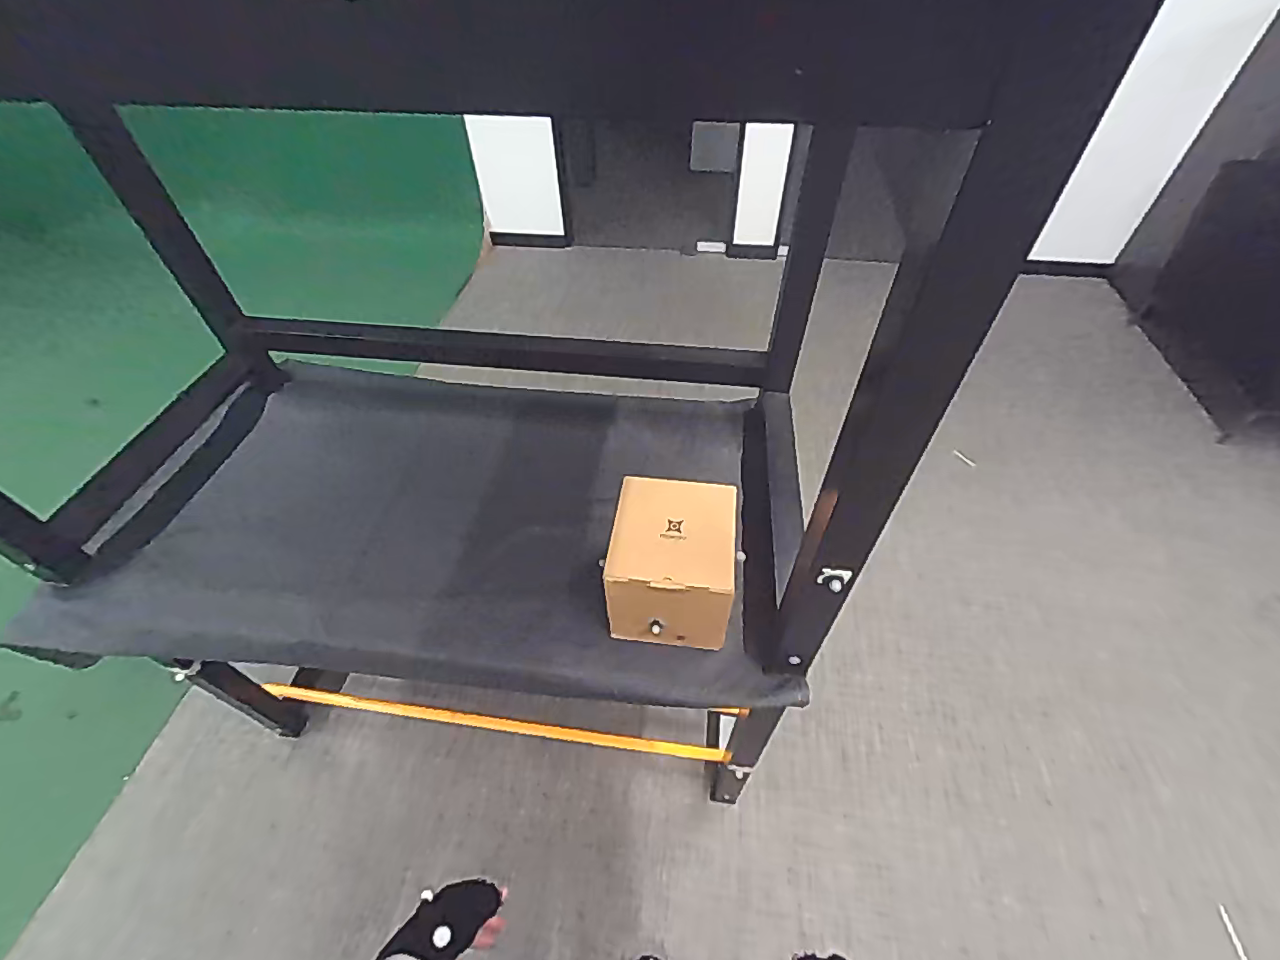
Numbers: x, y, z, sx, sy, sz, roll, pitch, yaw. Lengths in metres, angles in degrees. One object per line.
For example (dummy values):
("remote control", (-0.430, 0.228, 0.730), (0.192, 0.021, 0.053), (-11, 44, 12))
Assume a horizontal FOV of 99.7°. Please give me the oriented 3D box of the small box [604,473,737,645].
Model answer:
("small box", (0.047, 0.115, 0.786), (0.168, 0.176, 0.179), (5, 49, 6))
